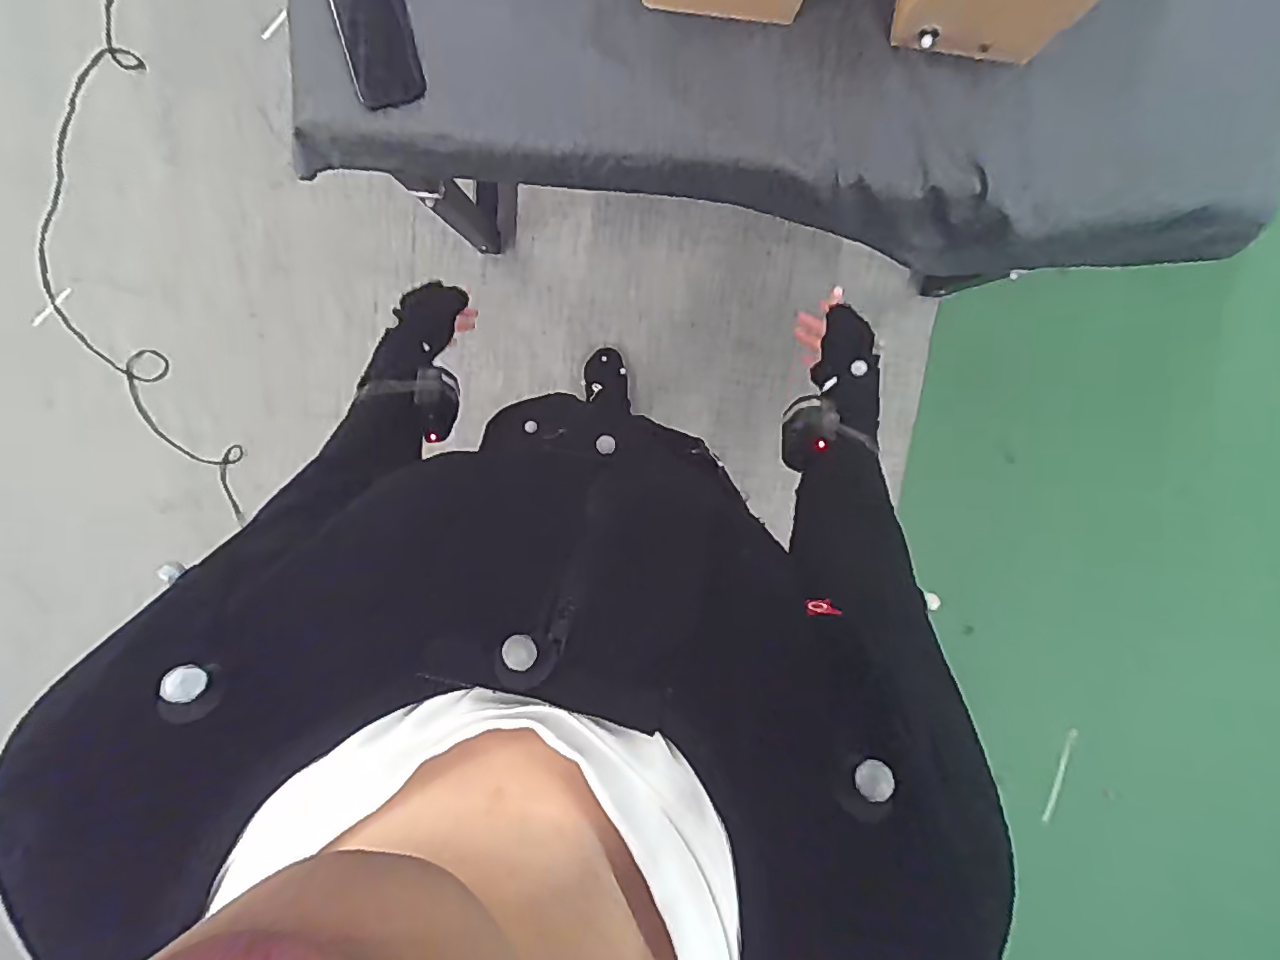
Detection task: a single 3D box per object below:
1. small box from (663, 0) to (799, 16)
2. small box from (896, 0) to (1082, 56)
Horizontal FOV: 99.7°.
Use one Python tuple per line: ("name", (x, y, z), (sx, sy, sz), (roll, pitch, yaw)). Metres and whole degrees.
("small box", (0.103, -0.609, 0.536), (0.179, 0.176, 0.168), (5, 100, -2))
("small box", (0.387, -0.579, 0.548), (0.168, 0.176, 0.179), (7, 99, -3))
